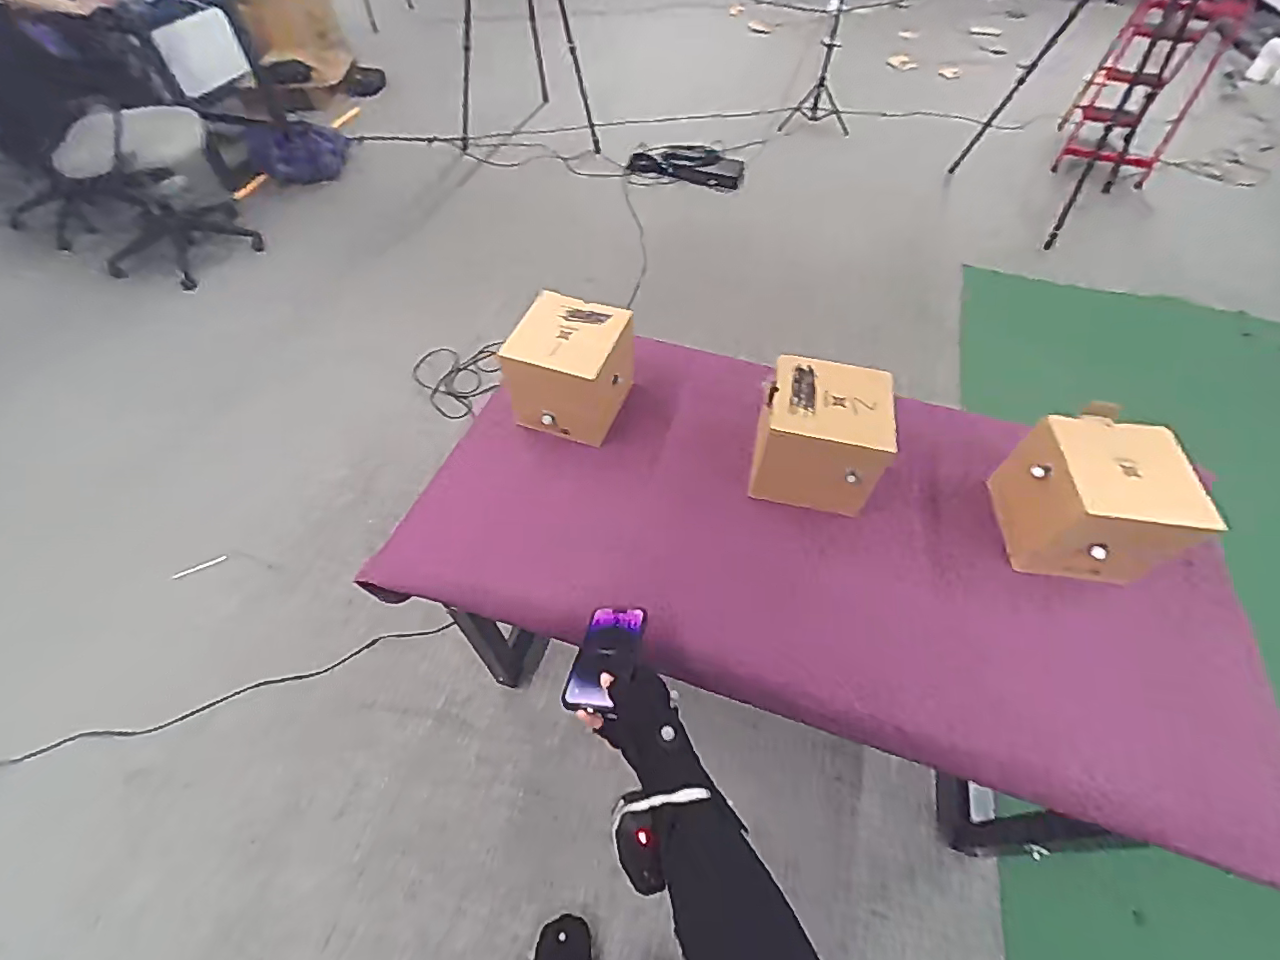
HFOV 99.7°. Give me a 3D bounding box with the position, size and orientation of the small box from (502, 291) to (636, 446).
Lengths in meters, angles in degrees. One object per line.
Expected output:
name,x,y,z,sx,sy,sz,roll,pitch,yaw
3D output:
small box,-0.114,-0.190,0.934,0.168,0.176,0.179,17,57,11

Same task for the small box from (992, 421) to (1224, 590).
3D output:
small box,0.653,0.041,0.785,0.168,0.176,0.179,7,53,5
